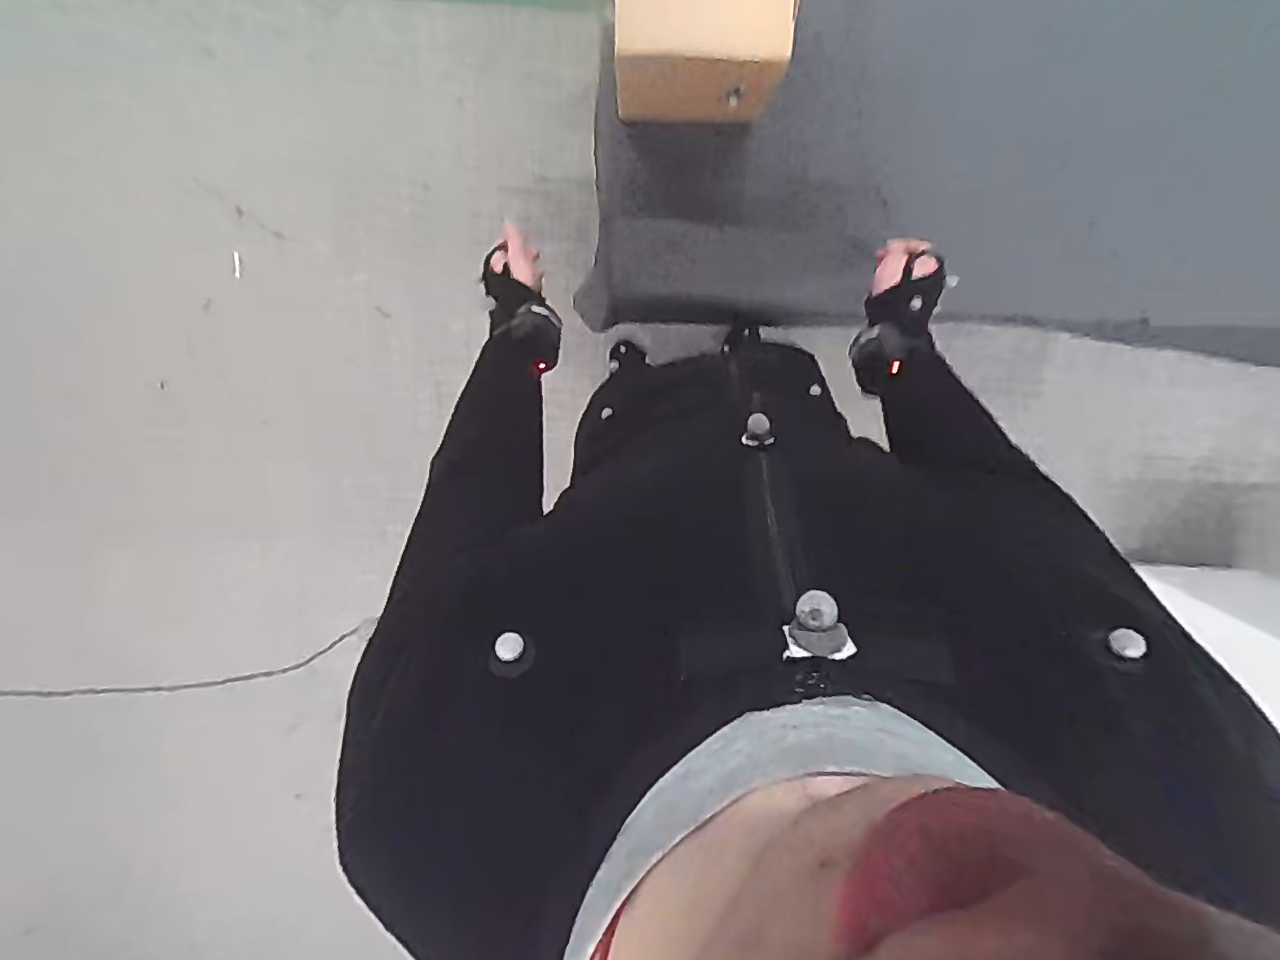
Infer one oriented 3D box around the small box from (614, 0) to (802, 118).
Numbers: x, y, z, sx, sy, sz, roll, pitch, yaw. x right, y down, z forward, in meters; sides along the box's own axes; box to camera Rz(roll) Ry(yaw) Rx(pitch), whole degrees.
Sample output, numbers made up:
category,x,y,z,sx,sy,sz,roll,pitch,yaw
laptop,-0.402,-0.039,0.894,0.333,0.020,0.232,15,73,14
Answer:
category,x,y,z,sx,sy,sz,roll,pitch,yaw
small box,0.062,-0.506,0.567,0.179,0.176,0.168,1,104,-2
